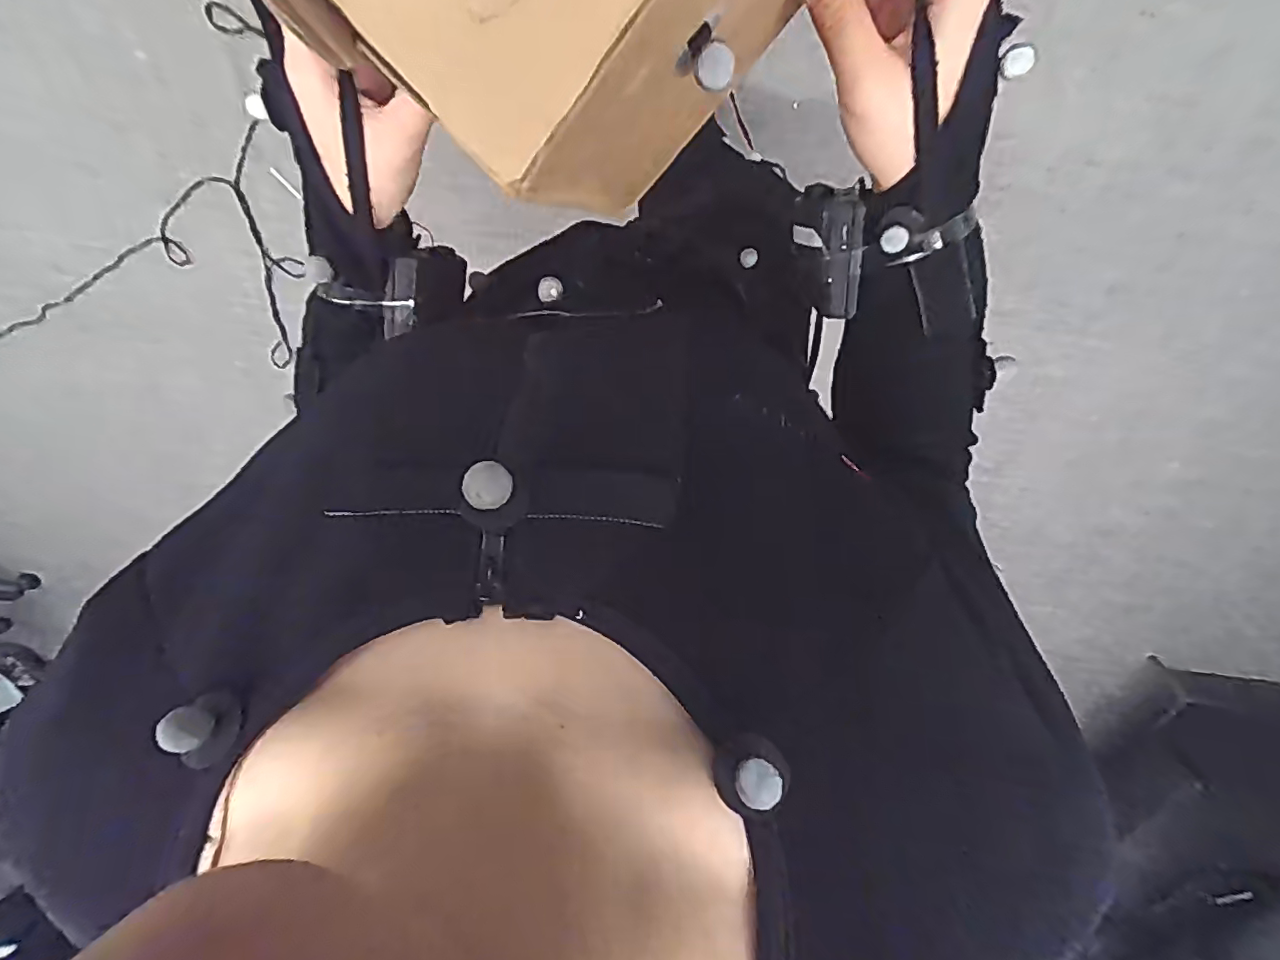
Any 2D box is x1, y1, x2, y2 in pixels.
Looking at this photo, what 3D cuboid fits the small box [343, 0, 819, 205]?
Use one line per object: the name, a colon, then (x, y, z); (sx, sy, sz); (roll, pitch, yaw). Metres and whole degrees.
small box: (-0.017, -0.229, 0.198); (0.168, 0.176, 0.179); (44, 114, -10)
